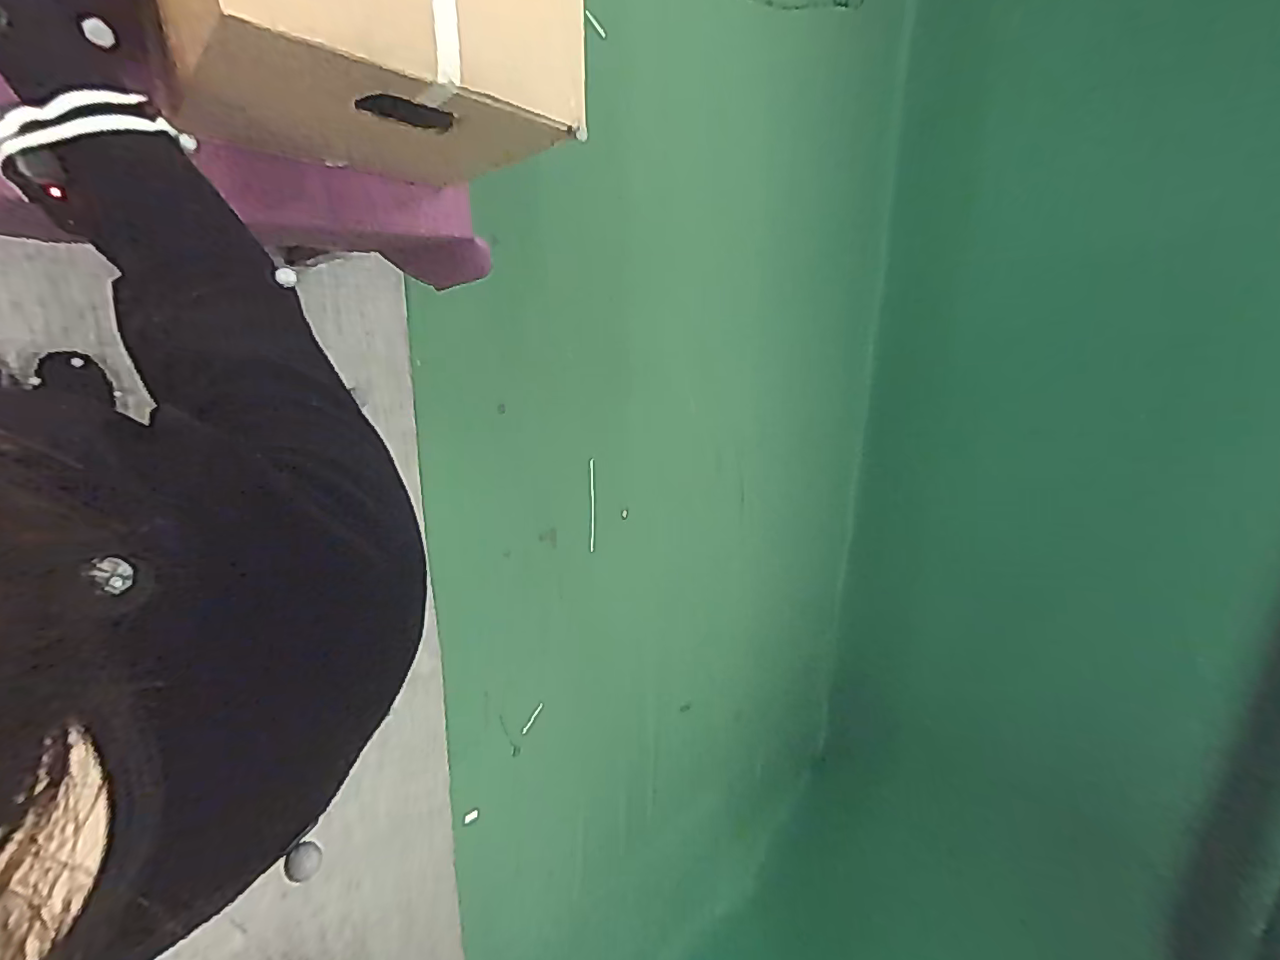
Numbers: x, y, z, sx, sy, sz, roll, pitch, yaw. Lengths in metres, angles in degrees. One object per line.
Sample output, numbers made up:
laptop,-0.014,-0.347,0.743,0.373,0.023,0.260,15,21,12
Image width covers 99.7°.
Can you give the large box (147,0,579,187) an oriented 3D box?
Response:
large box,-0.279,-0.556,0.524,0.320,0.320,0.408,-15,111,-44
